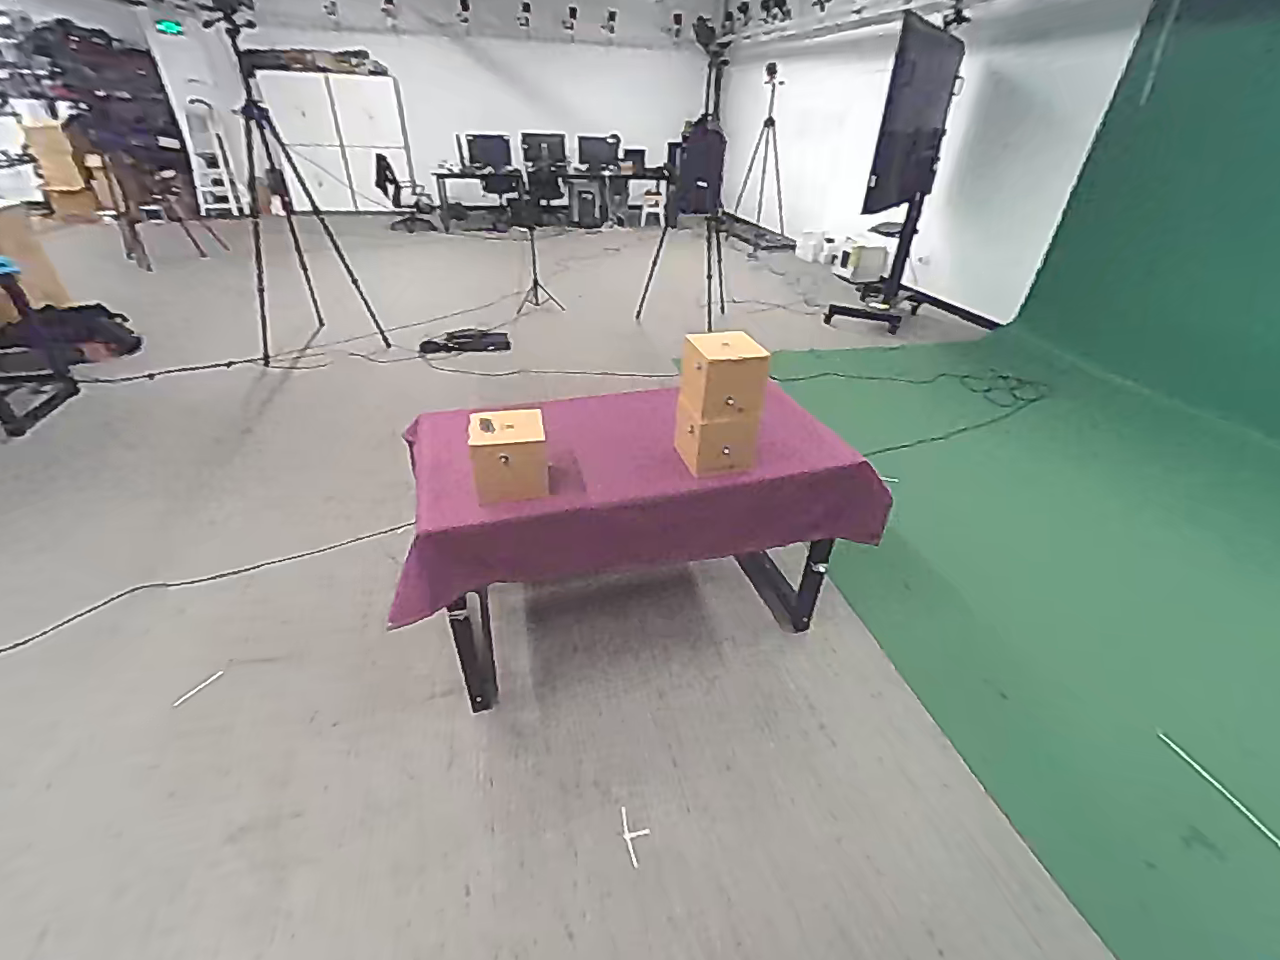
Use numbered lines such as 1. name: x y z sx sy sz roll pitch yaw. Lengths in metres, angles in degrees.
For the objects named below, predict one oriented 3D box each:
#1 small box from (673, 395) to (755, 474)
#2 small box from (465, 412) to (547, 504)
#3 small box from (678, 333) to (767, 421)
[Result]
1. small box: 0.196 -0.127 1.477 0.168 0.176 0.179 -8 35 -14
2. small box: -0.330 -0.055 1.347 0.179 0.176 0.168 -6 35 -12
3. small box: 0.203 -0.267 1.393 0.168 0.176 0.179 -8 36 -14
